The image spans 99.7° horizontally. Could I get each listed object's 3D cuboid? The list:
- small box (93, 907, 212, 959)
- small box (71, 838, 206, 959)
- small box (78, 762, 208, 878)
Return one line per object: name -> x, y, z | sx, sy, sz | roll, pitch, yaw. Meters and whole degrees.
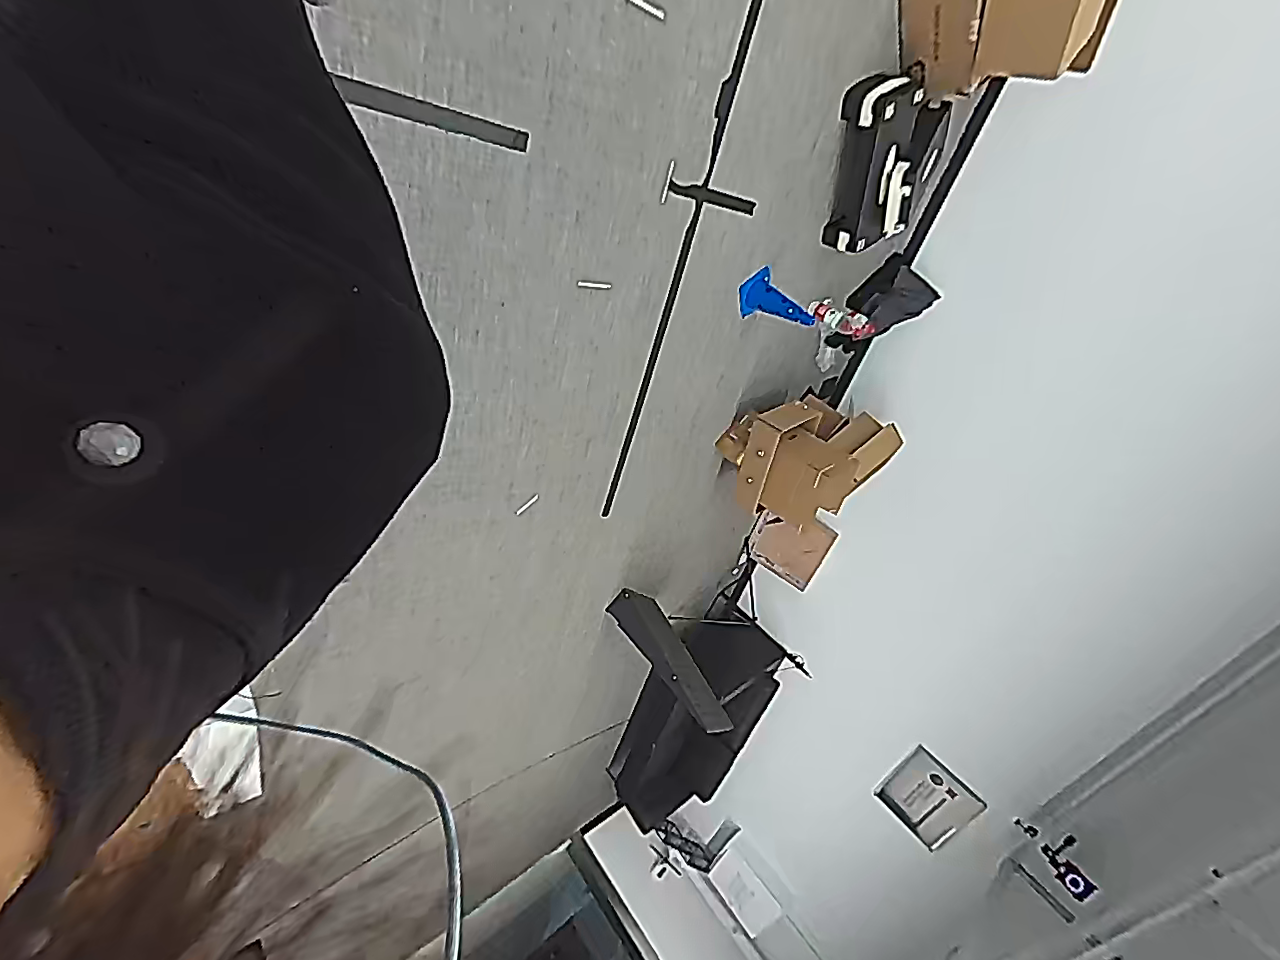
small box -> -0.922, 0.968, 1.021 | 0.179, 0.176, 0.168 | -14, 134, -41
small box -> -1.031, 0.886, 1.115 | 0.168, 0.176, 0.179 | -17, 136, -39
small box -> -1.110, 0.778, 1.211 | 0.179, 0.176, 0.168 | -17, 136, -38
